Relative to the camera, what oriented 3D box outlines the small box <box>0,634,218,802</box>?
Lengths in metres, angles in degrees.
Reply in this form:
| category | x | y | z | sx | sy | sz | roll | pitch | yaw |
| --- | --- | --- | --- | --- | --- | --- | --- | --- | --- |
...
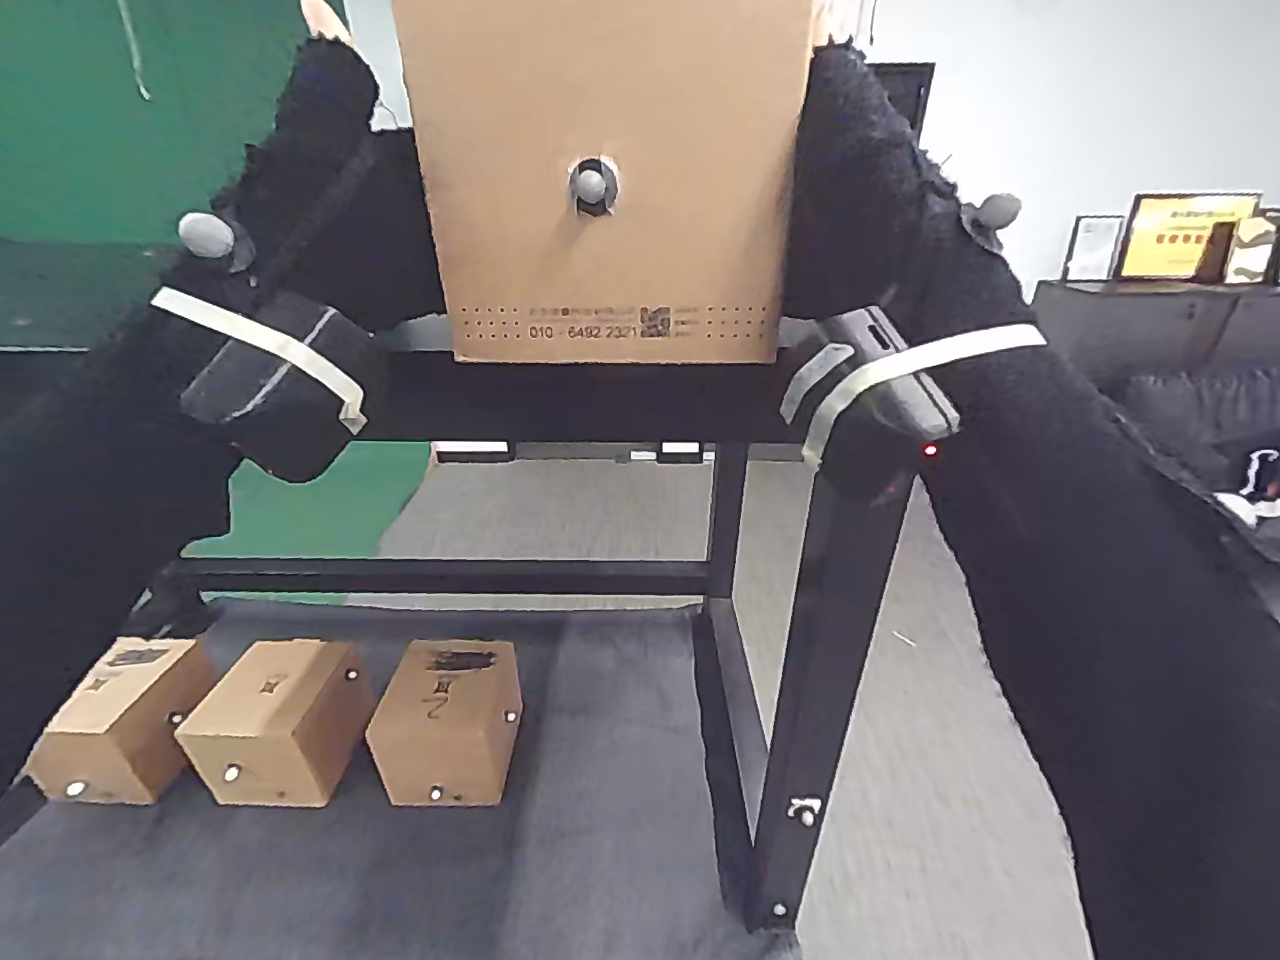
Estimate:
| category | x | y | z | sx | sy | sz | roll | pitch | yaw |
| --- | --- | --- | --- | --- | --- | --- | --- | --- | --- |
| small box | -0.803 | 0.369 | 0.851 | 0.168 | 0.176 | 0.179 | 1 | 29 | 2 |

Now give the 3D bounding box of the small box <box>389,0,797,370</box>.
| category | x | y | z | sx | sy | sz | roll | pitch | yaw |
| --- | --- | --- | --- | --- | --- | --- | --- | --- | --- |
| small box | -0.012 | -0.168 | 0.315 | 0.168 | 0.176 | 0.179 | 1 | 29 | 3 |

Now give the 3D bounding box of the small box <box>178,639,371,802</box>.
| category | x | y | z | sx | sy | sz | roll | pitch | yaw |
| --- | --- | --- | --- | --- | --- | --- | --- | --- | --- |
| small box | -0.550 | 0.374 | 0.848 | 0.168 | 0.176 | 0.179 | 1 | 28 | 1 |
